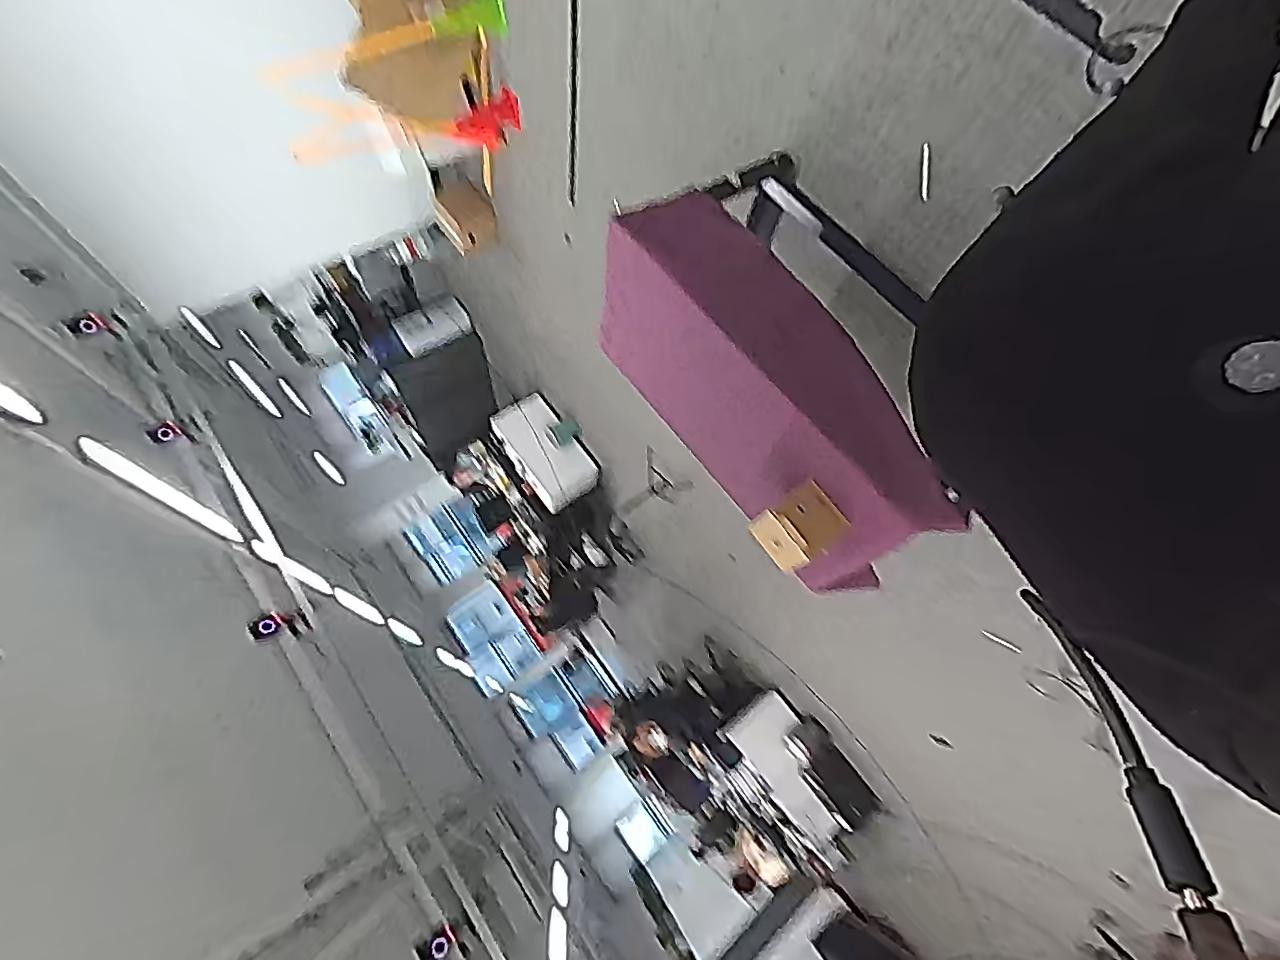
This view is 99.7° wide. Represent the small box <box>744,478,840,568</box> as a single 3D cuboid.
[{"bbox_3d":[0.431,0.120,1.526,0.168,0.176,0.179,53,160,10],"label":"small box"}]
